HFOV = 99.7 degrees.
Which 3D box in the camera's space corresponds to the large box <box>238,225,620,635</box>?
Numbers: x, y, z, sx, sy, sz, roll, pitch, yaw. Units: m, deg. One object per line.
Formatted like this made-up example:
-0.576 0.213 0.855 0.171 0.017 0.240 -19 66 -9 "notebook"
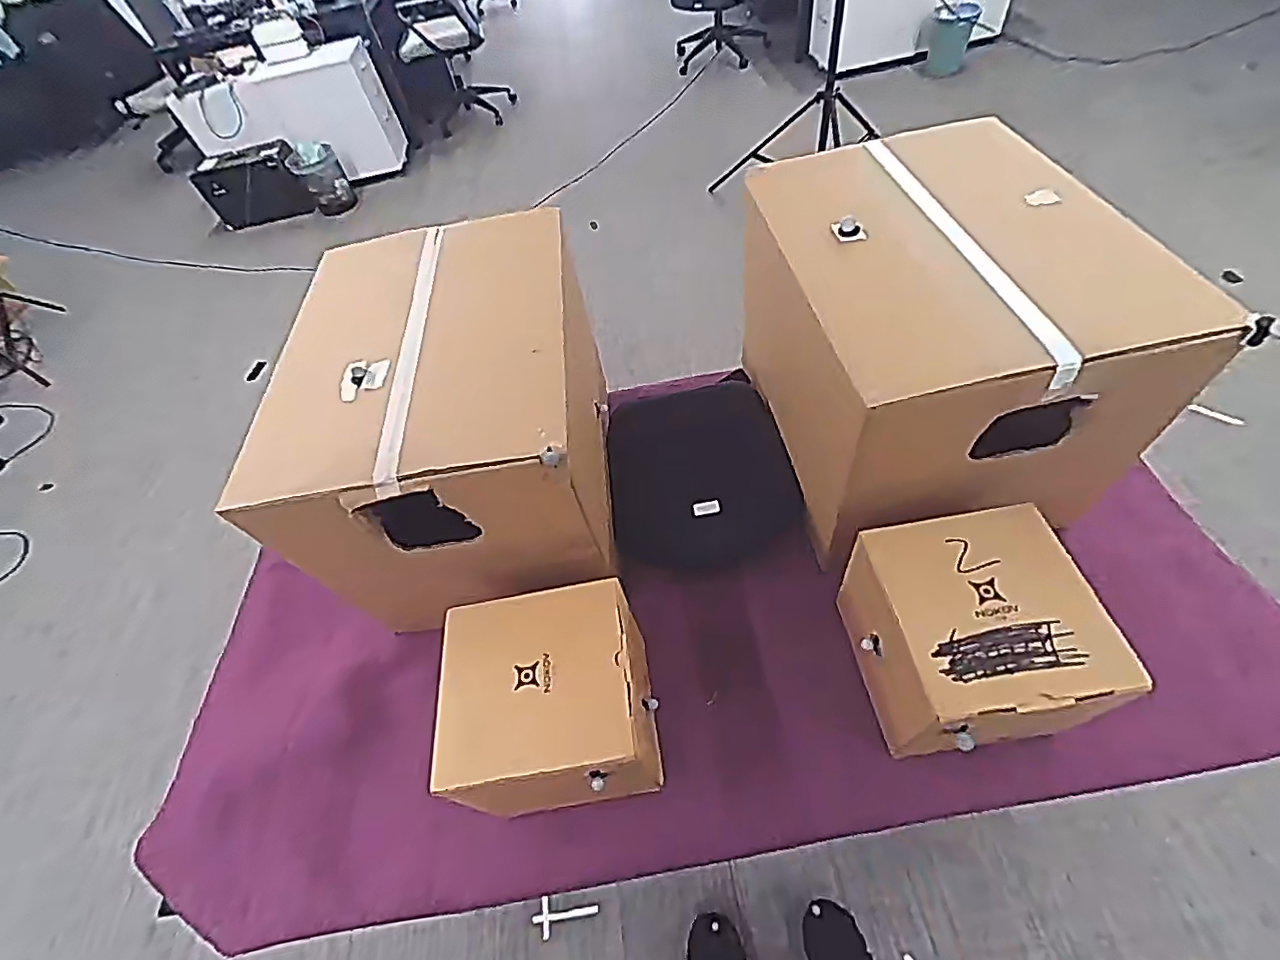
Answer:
-0.215 -0.058 0.706 0.320 0.320 0.408 -10 56 3 "large box"
